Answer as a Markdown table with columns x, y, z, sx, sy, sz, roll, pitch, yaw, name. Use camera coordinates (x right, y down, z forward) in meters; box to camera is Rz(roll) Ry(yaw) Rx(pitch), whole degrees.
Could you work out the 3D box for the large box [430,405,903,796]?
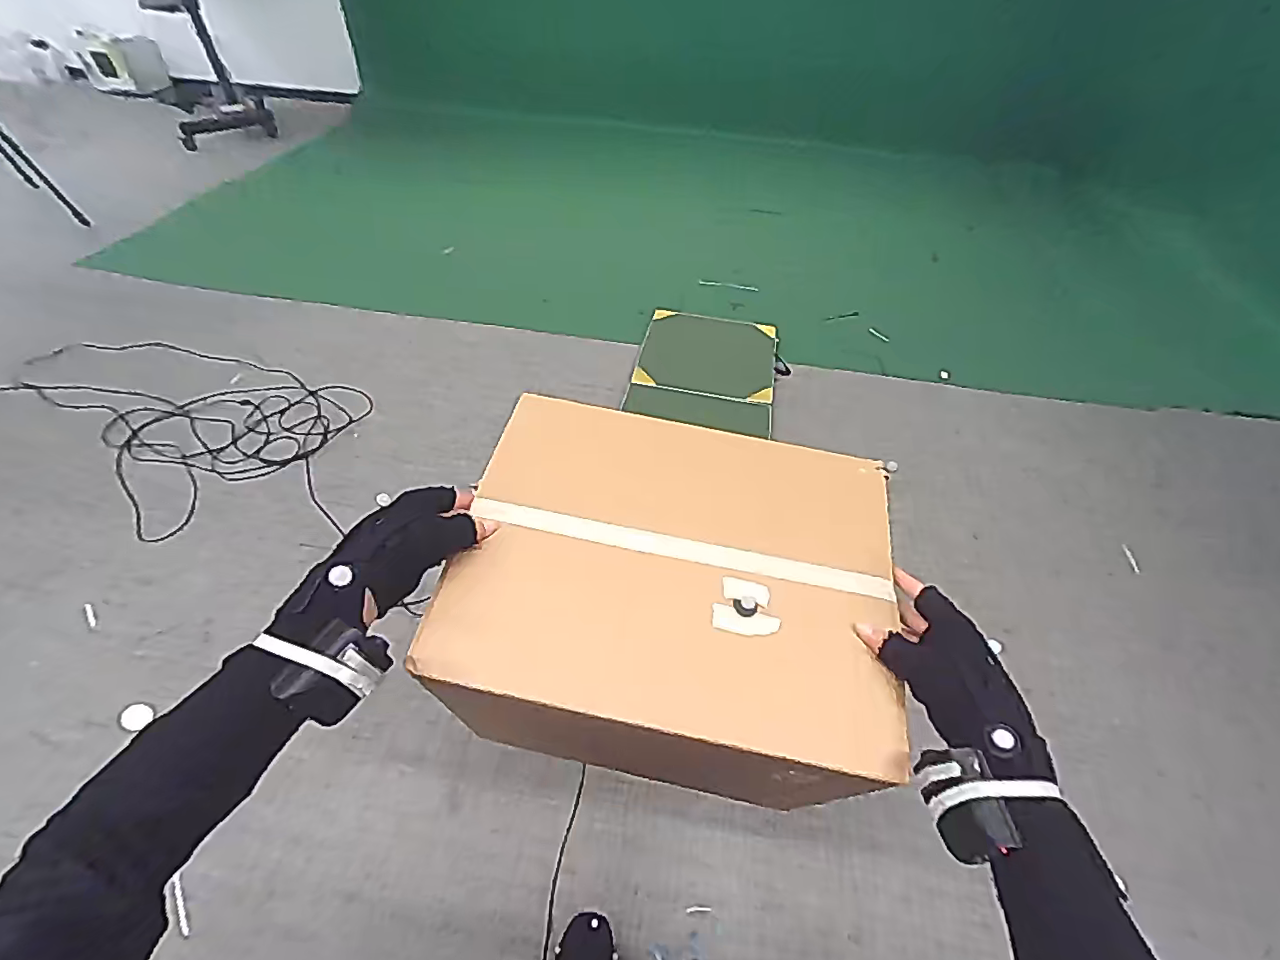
| x | y | z | sx | sy | sz | roll | pitch | yaw | name |
| --- | --- | --- | --- | --- | --- | --- | --- | --- | --- |
| 0.030 | 0.154 | 0.646 | 0.408 | 0.320 | 0.320 | 11 | 56 | 2 | large box |
